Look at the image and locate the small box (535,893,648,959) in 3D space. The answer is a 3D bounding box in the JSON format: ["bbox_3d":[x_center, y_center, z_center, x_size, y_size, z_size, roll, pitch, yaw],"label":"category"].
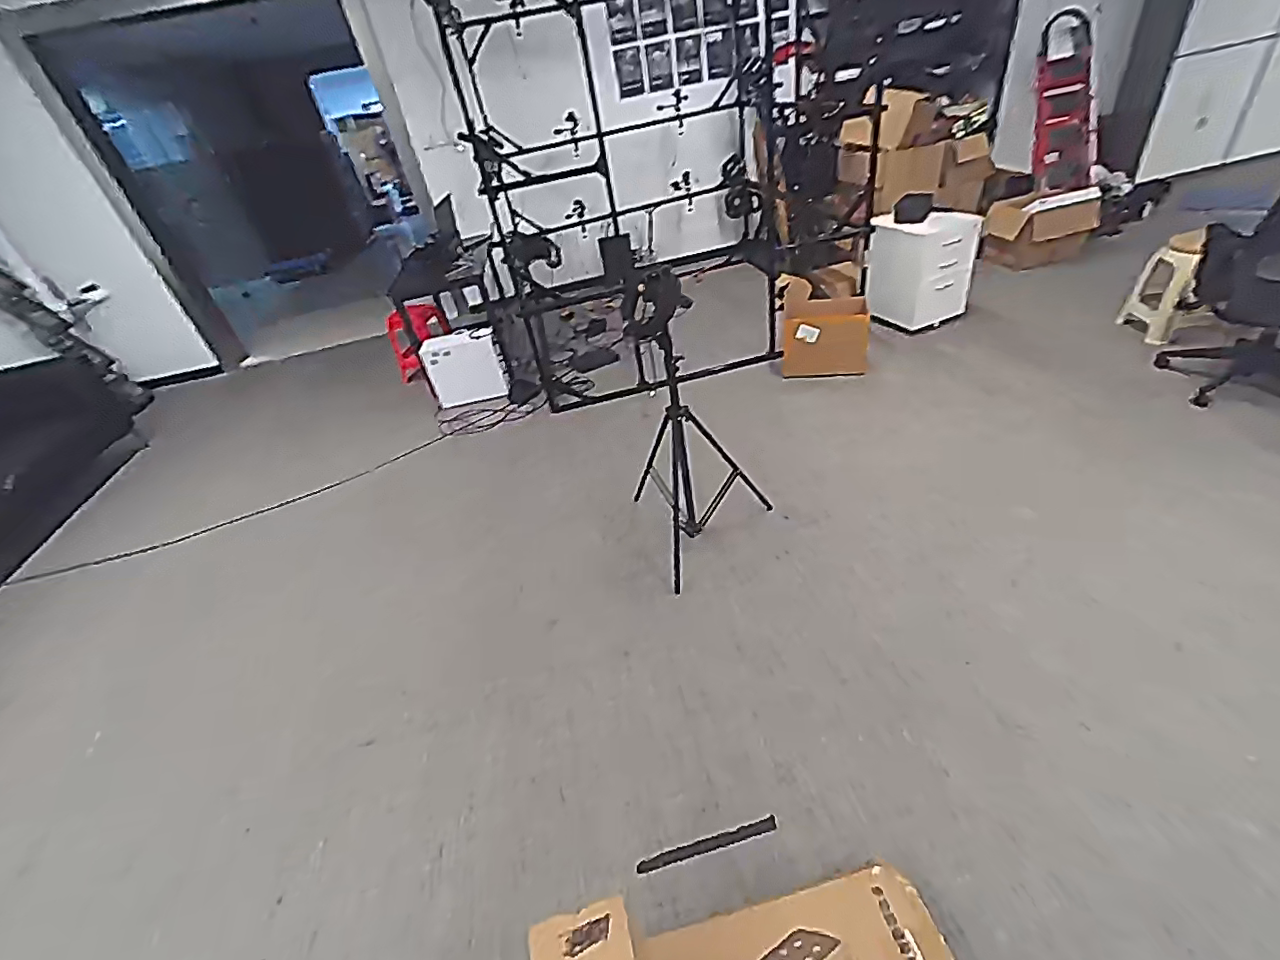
[{"bbox_3d":[-0.071,0.840,0.898,0.168,0.176,0.179,-15,36,-6],"label":"small box"}]

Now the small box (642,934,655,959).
[{"bbox_3d":[-0.039,0.979,0.980,0.168,0.176,0.179,-15,36,-4],"label":"small box"}]
